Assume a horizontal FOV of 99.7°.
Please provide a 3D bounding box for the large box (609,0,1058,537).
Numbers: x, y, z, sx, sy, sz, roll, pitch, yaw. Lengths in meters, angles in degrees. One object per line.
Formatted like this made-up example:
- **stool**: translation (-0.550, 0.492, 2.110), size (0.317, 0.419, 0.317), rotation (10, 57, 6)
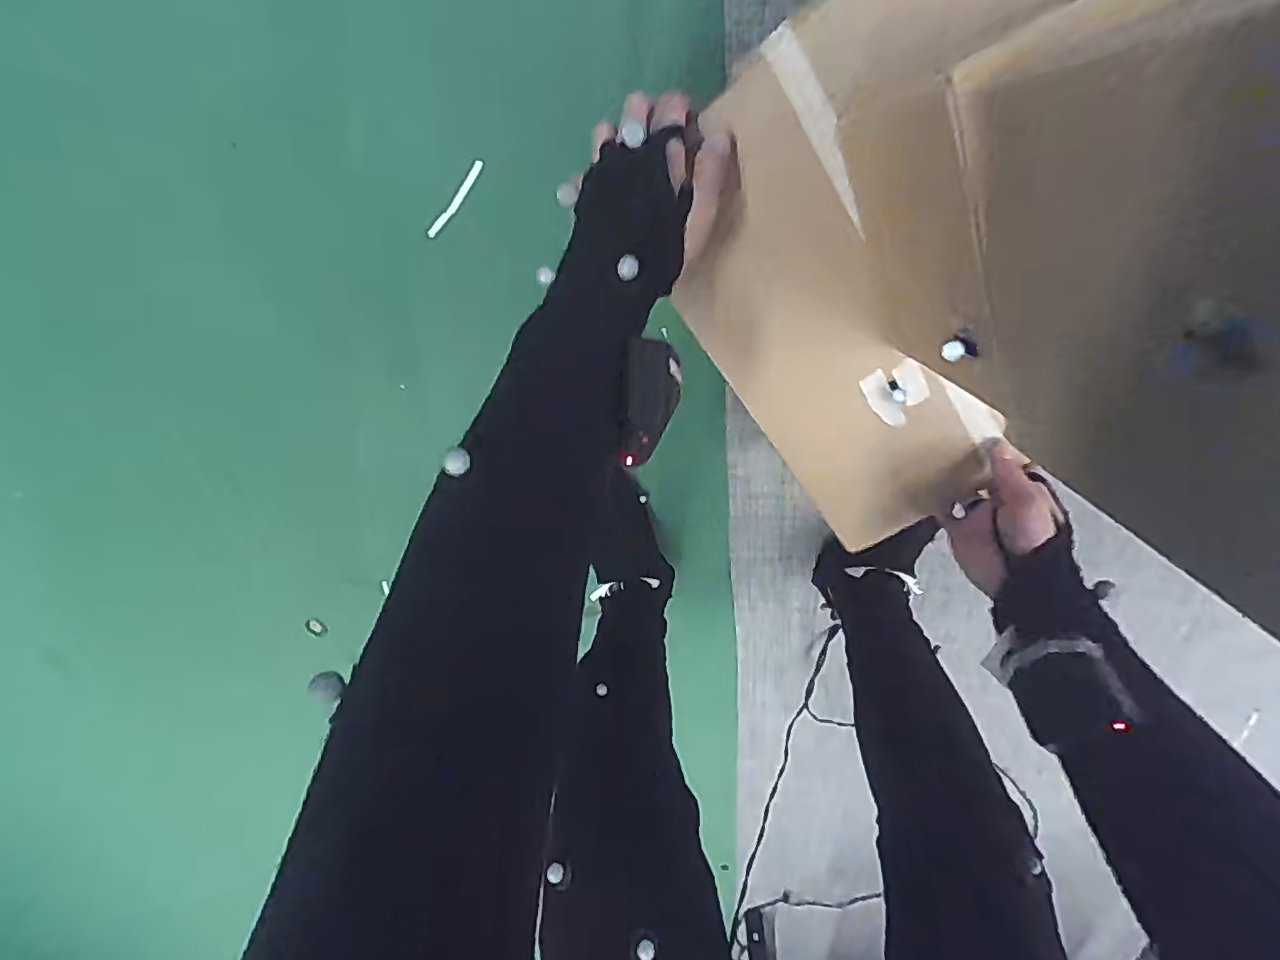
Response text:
- **large box**: translation (0.222, -0.229, 0.550), size (0.320, 0.320, 0.408), rotation (-35, 112, 22)

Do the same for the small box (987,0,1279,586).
- **small box**: translation (0.237, -0.082, 0.165), size (0.168, 0.176, 0.179), rotation (-20, 116, 13)

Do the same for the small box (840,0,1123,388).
- **small box**: translation (0.234, -0.174, 0.301), size (0.168, 0.176, 0.179), rotation (-25, 115, 14)
